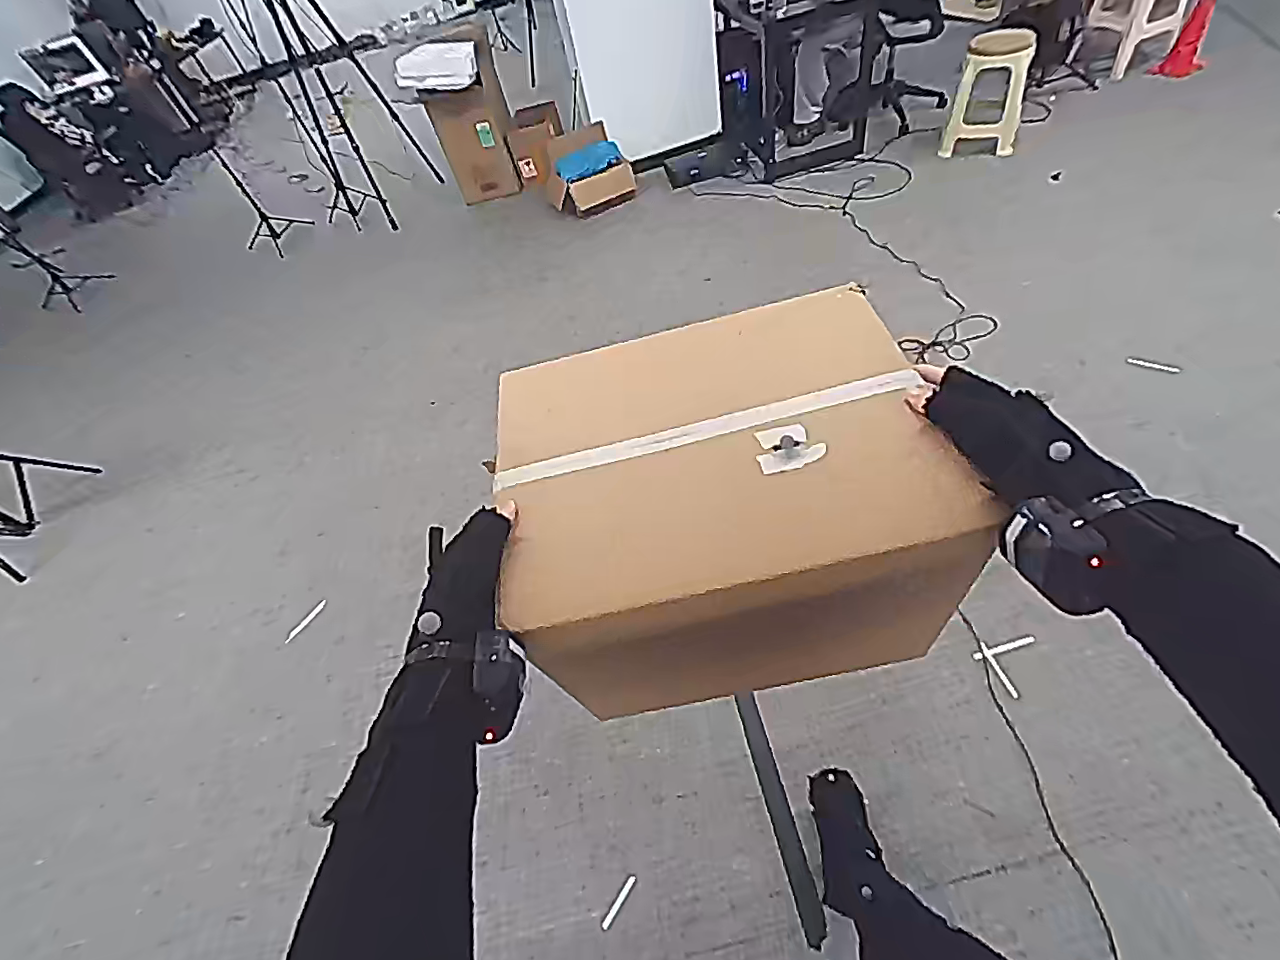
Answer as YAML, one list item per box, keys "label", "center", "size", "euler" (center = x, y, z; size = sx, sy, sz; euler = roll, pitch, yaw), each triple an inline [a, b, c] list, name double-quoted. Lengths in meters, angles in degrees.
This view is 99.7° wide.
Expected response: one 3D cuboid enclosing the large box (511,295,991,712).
- label: "large box"
  center: [0.092, 0.044, 0.643]
  size: [0.408, 0.320, 0.320]
  euler: [-13, 53, 3]
